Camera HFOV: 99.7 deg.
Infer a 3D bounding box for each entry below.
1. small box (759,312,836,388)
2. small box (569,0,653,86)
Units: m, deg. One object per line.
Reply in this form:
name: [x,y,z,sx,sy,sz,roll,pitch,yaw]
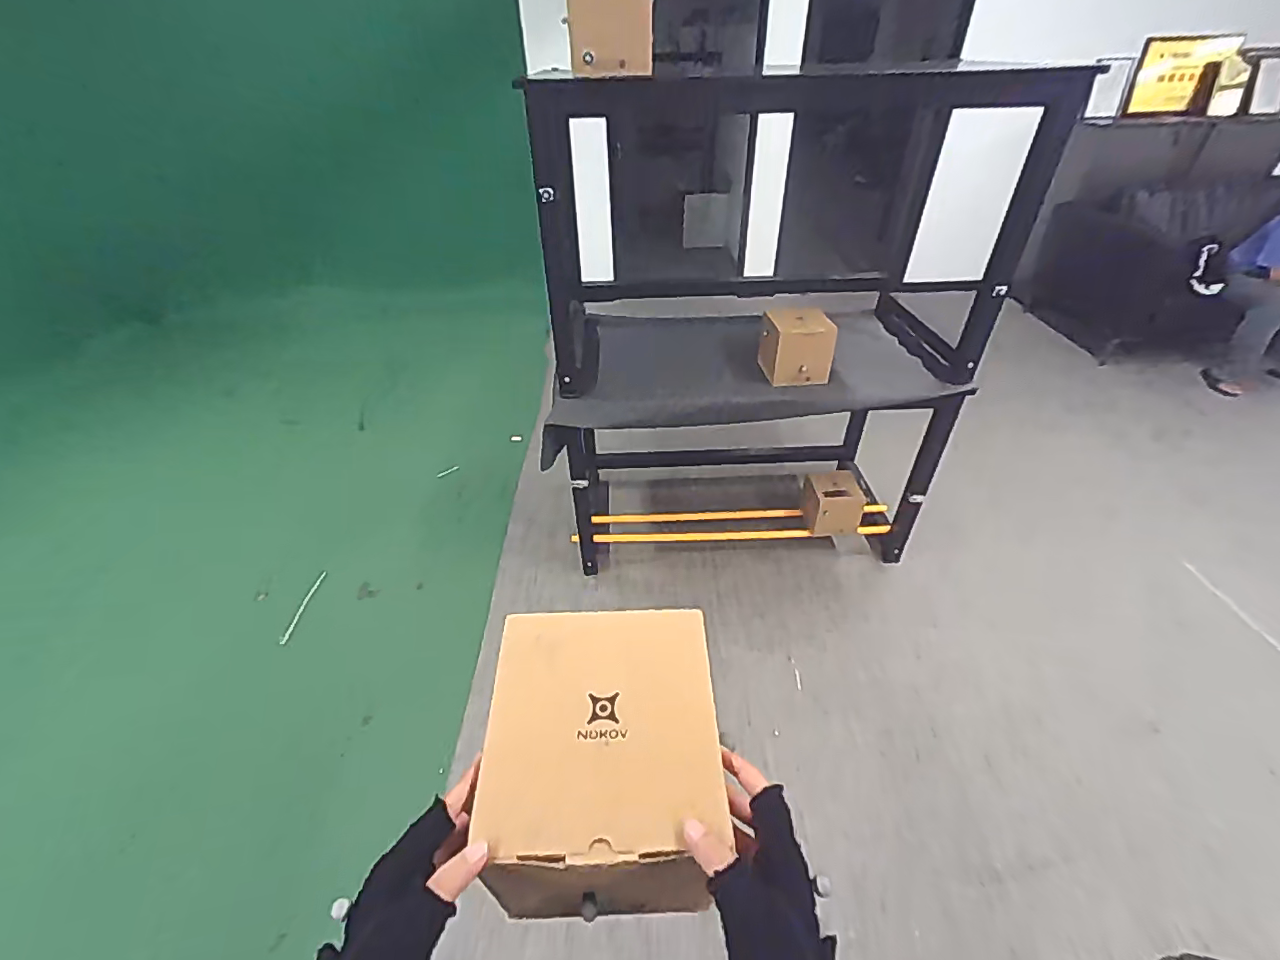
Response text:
small box: [0.458,-0.386,1.606,0.168,0.176,0.179,-4,37,-3]
small box: [-0.062,-0.949,1.153,0.168,0.176,0.179,-4,37,-5]
